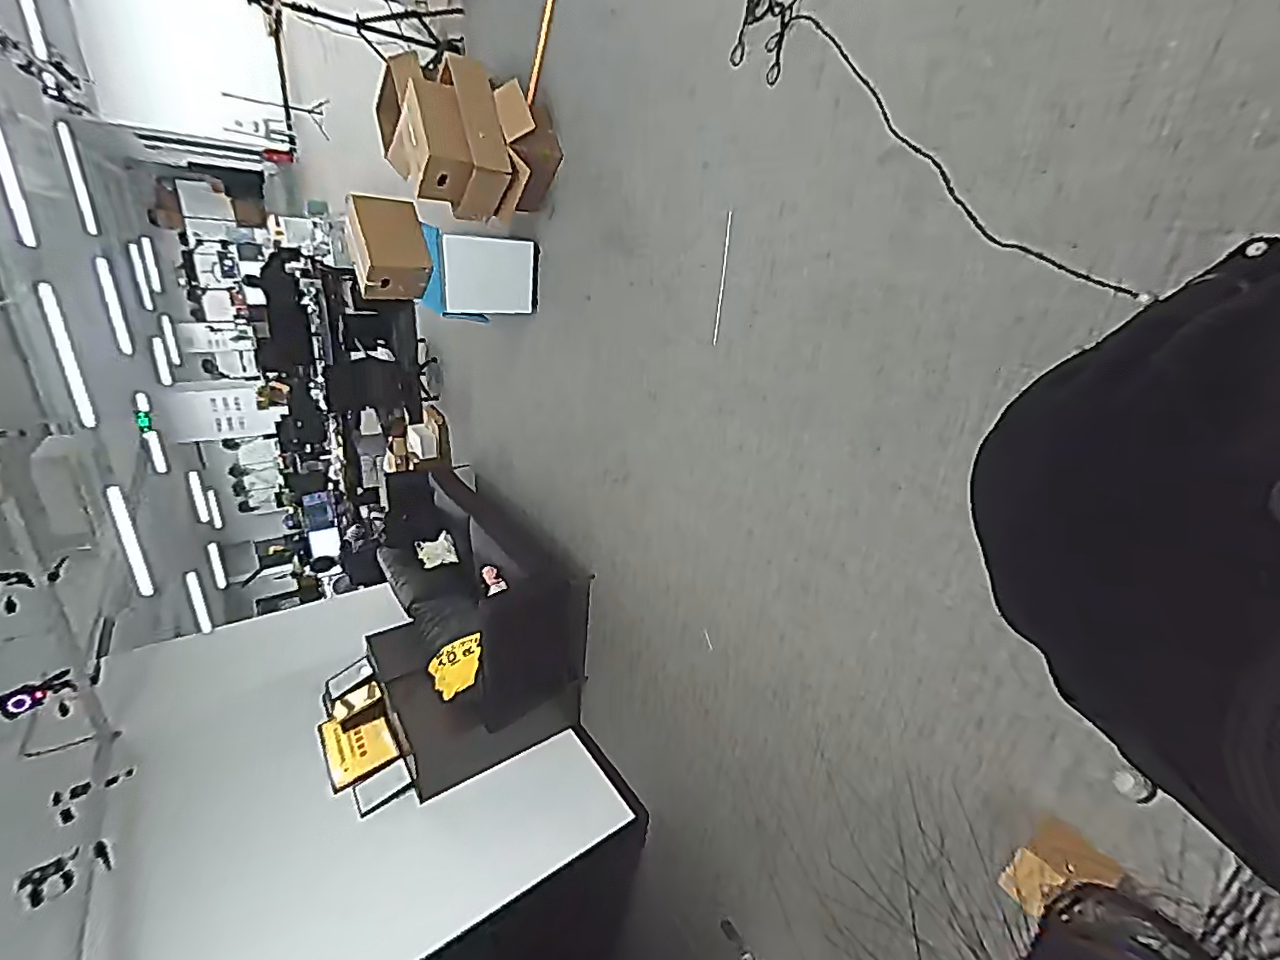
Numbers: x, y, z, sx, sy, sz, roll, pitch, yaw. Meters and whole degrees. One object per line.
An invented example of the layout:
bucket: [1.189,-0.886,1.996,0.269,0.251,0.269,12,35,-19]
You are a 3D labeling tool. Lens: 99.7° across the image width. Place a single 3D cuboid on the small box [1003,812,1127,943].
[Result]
small box: [1.079,0.999,1.372,0.179,0.176,0.168,36,128,44]
